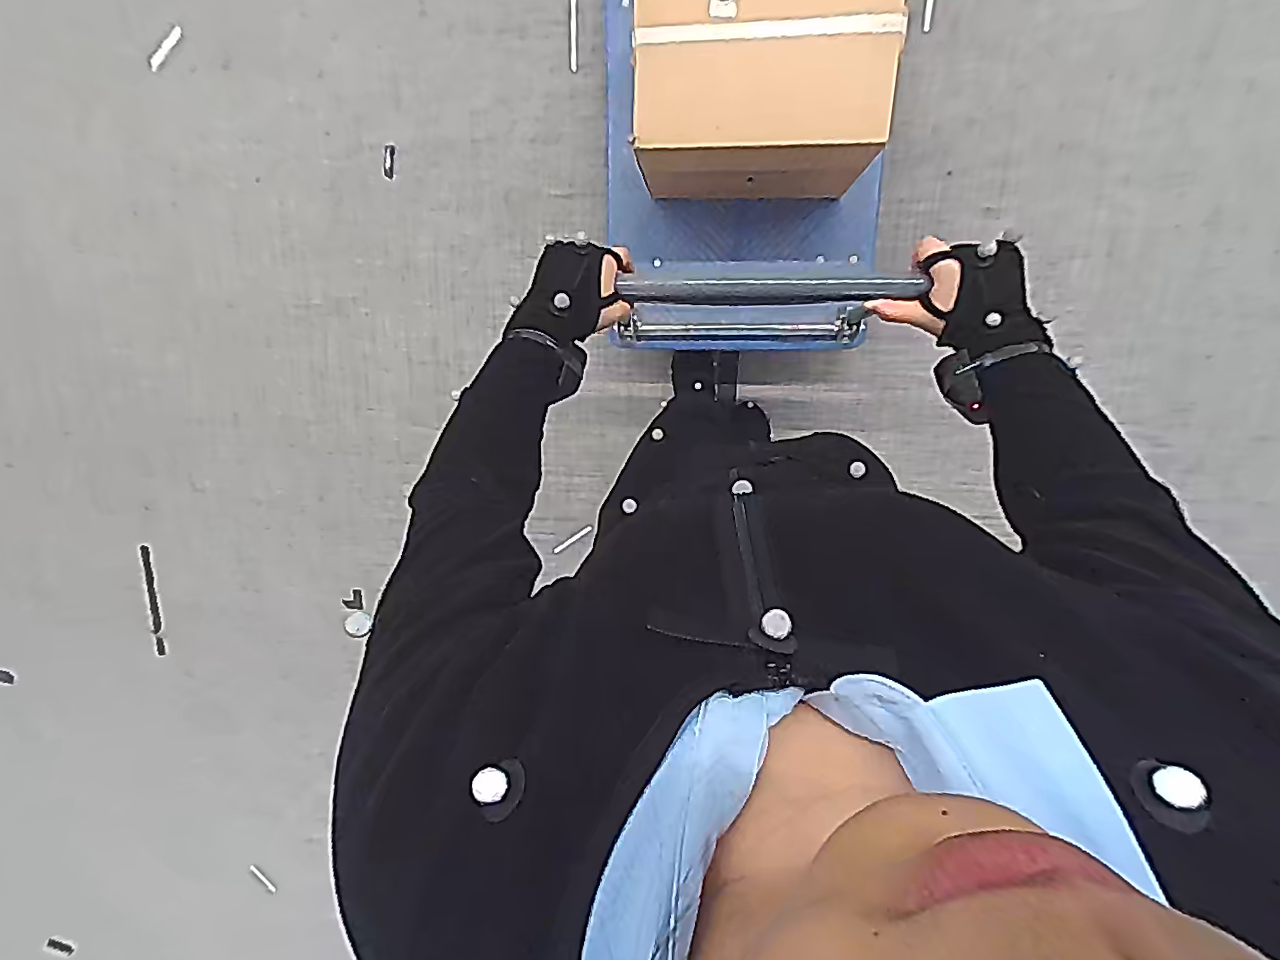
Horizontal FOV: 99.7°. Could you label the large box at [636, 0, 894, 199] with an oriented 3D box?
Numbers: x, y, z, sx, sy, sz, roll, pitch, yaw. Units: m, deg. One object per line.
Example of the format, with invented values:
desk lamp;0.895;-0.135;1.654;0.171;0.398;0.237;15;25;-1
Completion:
large box;0.212;-0.729;0.997;0.408;0.320;0.320;2;103;8
